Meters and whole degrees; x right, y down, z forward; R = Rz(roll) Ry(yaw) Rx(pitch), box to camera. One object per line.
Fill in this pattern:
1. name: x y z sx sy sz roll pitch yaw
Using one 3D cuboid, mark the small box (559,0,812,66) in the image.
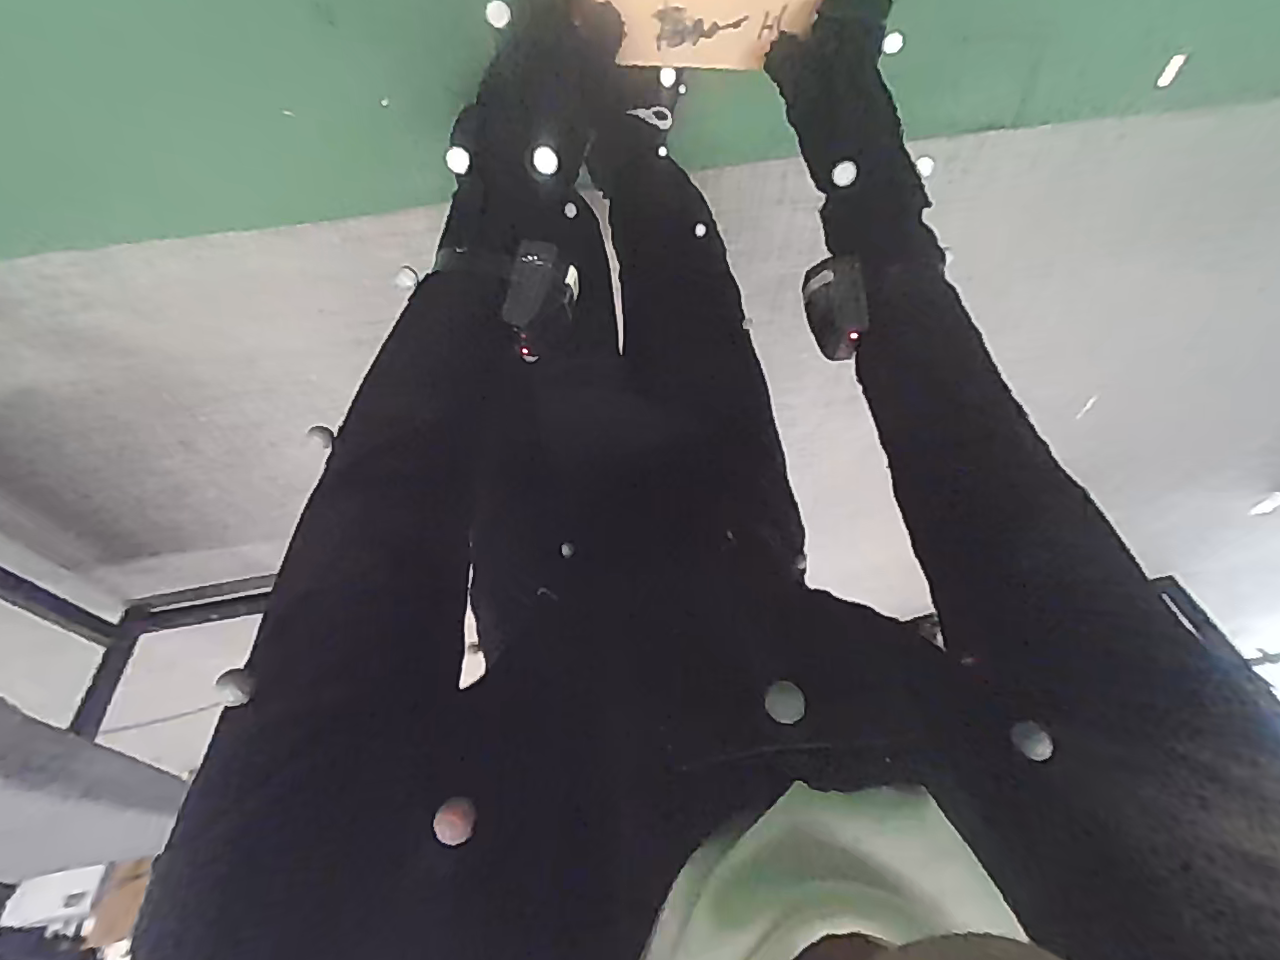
1. small box: 0.030 -0.431 0.401 0.168 0.176 0.179 -7 135 -13
